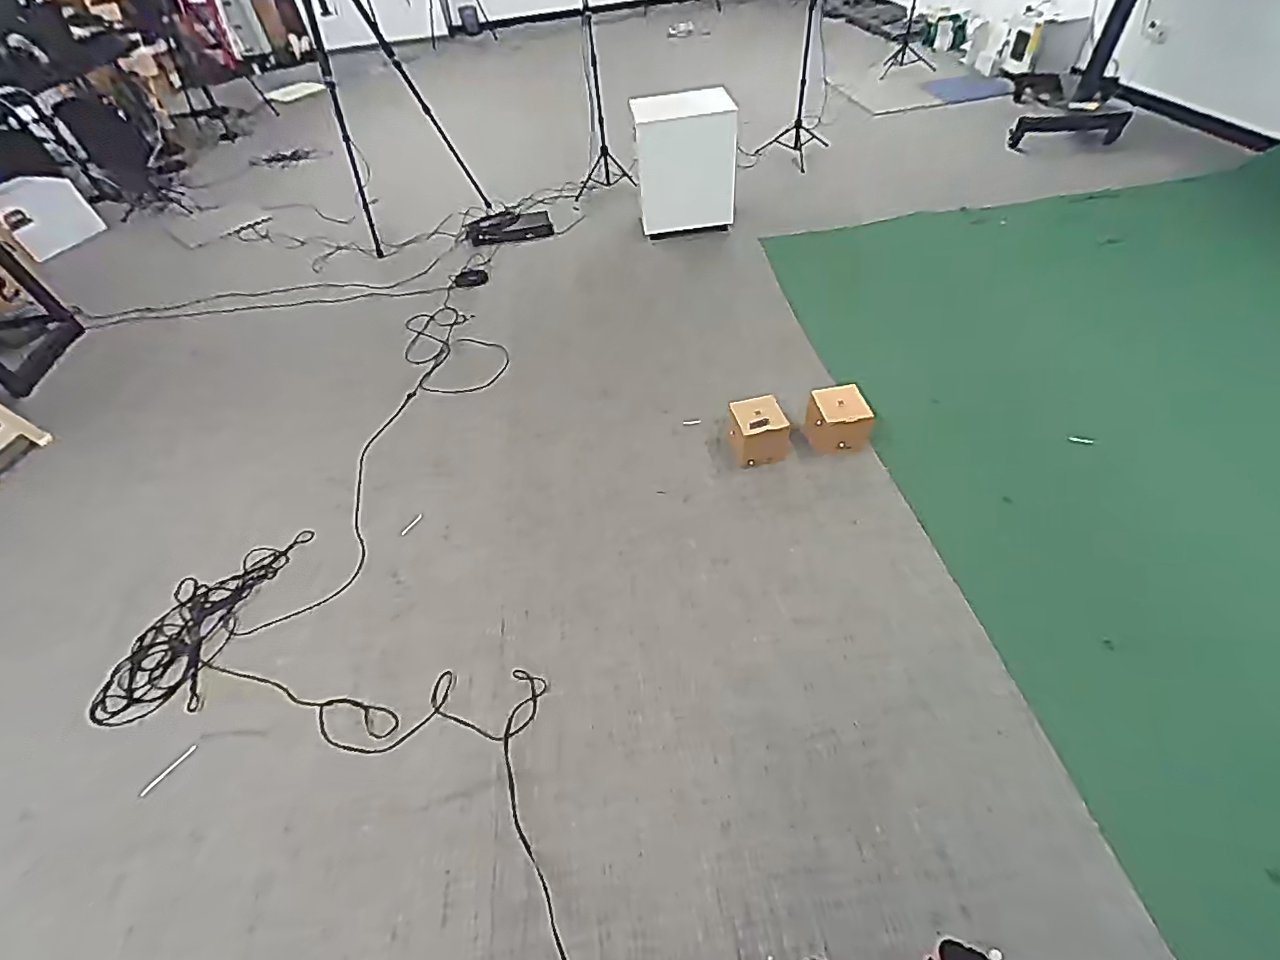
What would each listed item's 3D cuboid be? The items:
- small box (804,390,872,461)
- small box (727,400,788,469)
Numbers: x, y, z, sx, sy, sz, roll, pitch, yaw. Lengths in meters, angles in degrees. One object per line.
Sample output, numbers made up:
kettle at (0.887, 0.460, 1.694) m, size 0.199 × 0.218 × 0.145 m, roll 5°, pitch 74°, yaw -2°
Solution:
small box at (0.707, -0.196, 1.953) m, size 0.168 × 0.176 × 0.179 m, roll -9°, pitch 49°, yaw -1°
small box at (0.417, -0.156, 1.947) m, size 0.168 × 0.176 × 0.179 m, roll -12°, pitch 48°, yaw -5°
